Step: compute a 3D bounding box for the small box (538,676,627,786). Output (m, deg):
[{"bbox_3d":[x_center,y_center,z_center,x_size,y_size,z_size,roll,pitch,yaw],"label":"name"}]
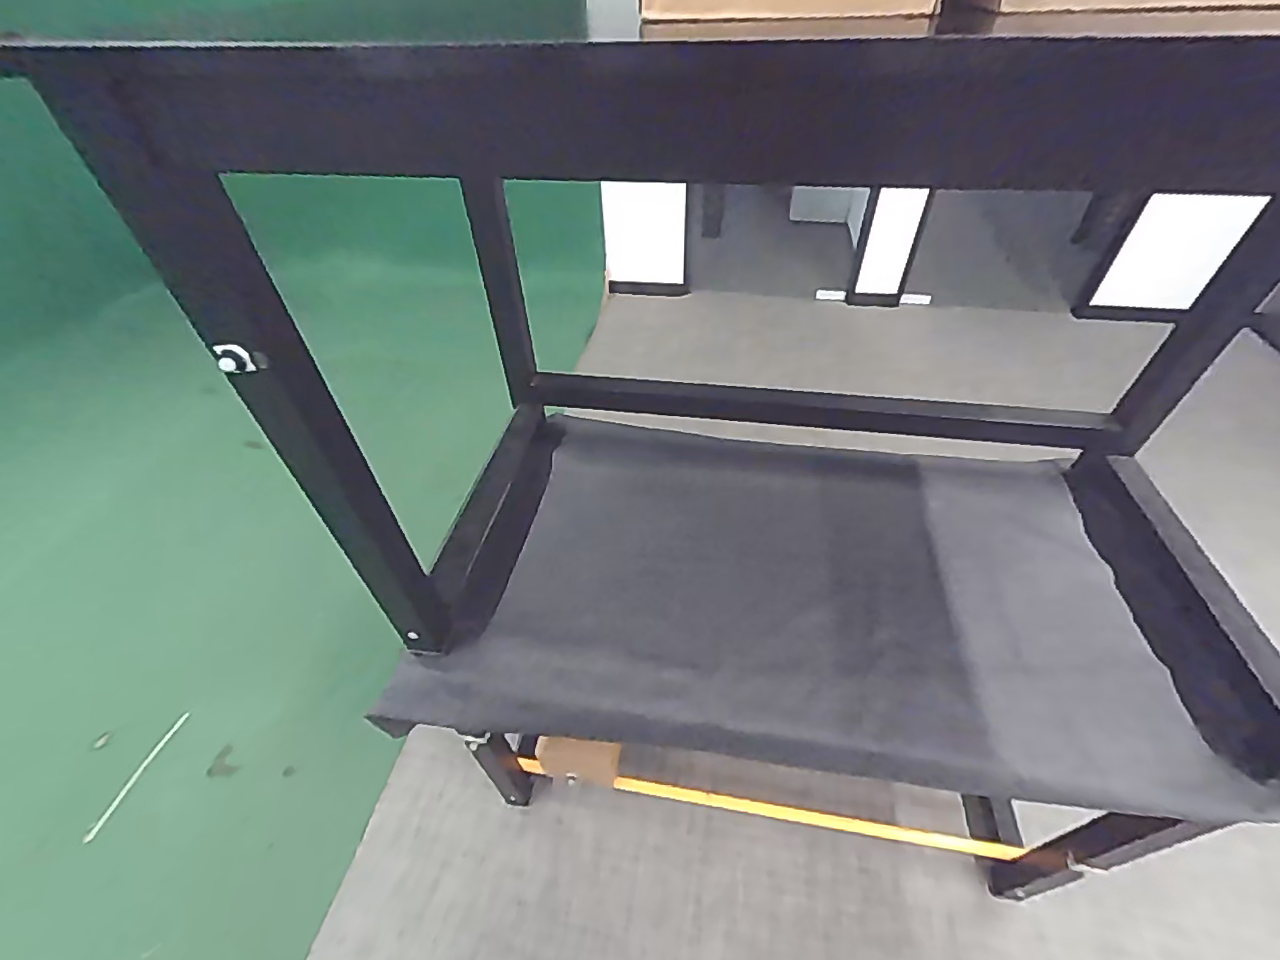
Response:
[{"bbox_3d":[-0.126,0.591,1.270,0.168,0.176,0.179,5,47,8],"label":"small box"}]
